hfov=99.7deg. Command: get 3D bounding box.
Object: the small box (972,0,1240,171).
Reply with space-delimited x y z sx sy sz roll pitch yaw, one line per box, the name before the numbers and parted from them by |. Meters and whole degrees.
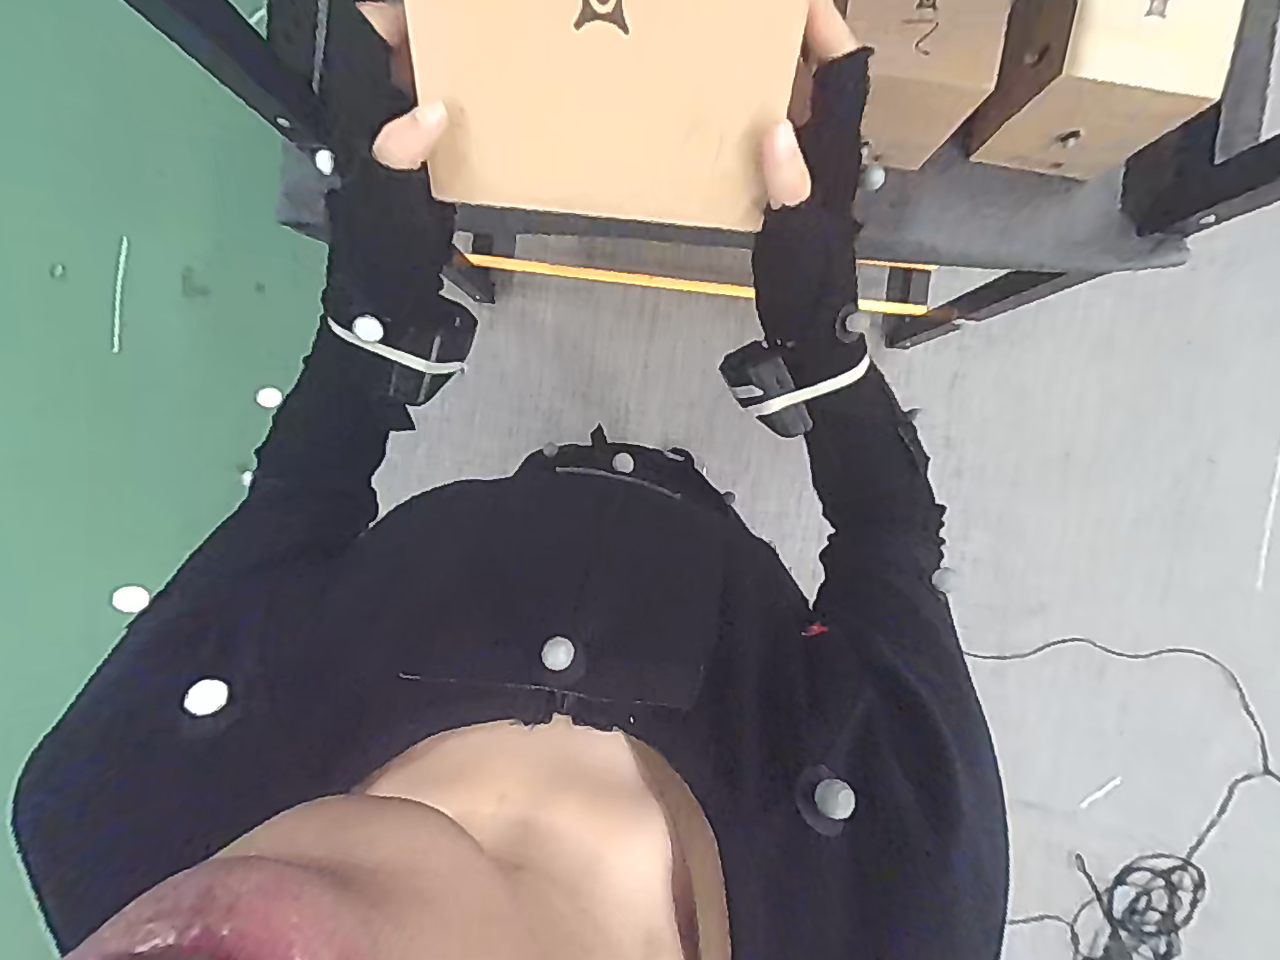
small box | 0.522 -0.493 0.626 0.168 0.176 0.179 11 93 0
